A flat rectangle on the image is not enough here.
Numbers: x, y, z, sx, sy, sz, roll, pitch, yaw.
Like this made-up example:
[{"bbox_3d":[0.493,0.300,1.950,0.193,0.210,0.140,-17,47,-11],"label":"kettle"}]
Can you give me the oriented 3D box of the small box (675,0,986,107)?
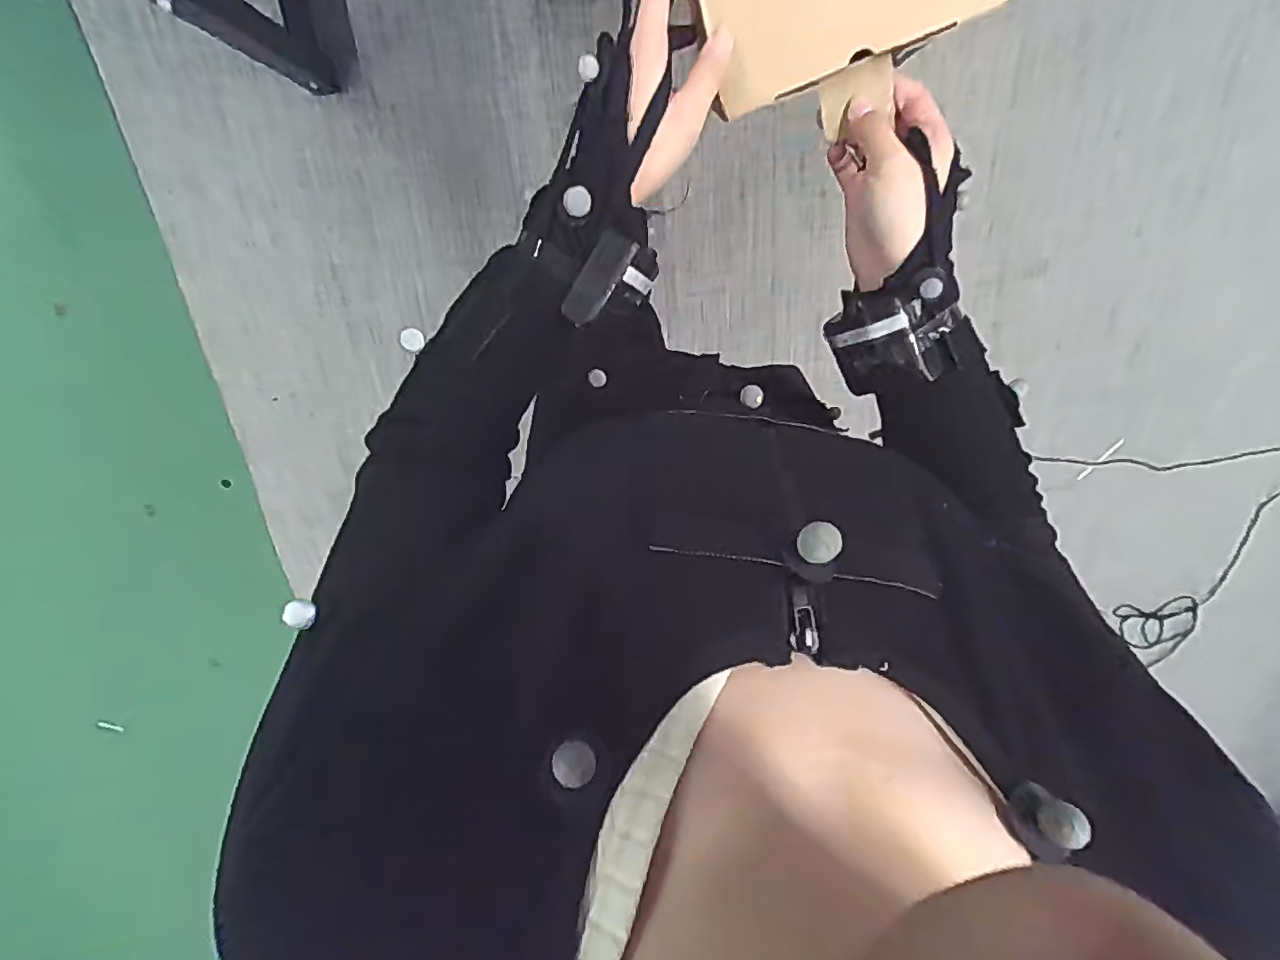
[{"bbox_3d":[0.096,-0.365,0.327,0.168,0.176,0.179,-16,128,12],"label":"small box"}]
